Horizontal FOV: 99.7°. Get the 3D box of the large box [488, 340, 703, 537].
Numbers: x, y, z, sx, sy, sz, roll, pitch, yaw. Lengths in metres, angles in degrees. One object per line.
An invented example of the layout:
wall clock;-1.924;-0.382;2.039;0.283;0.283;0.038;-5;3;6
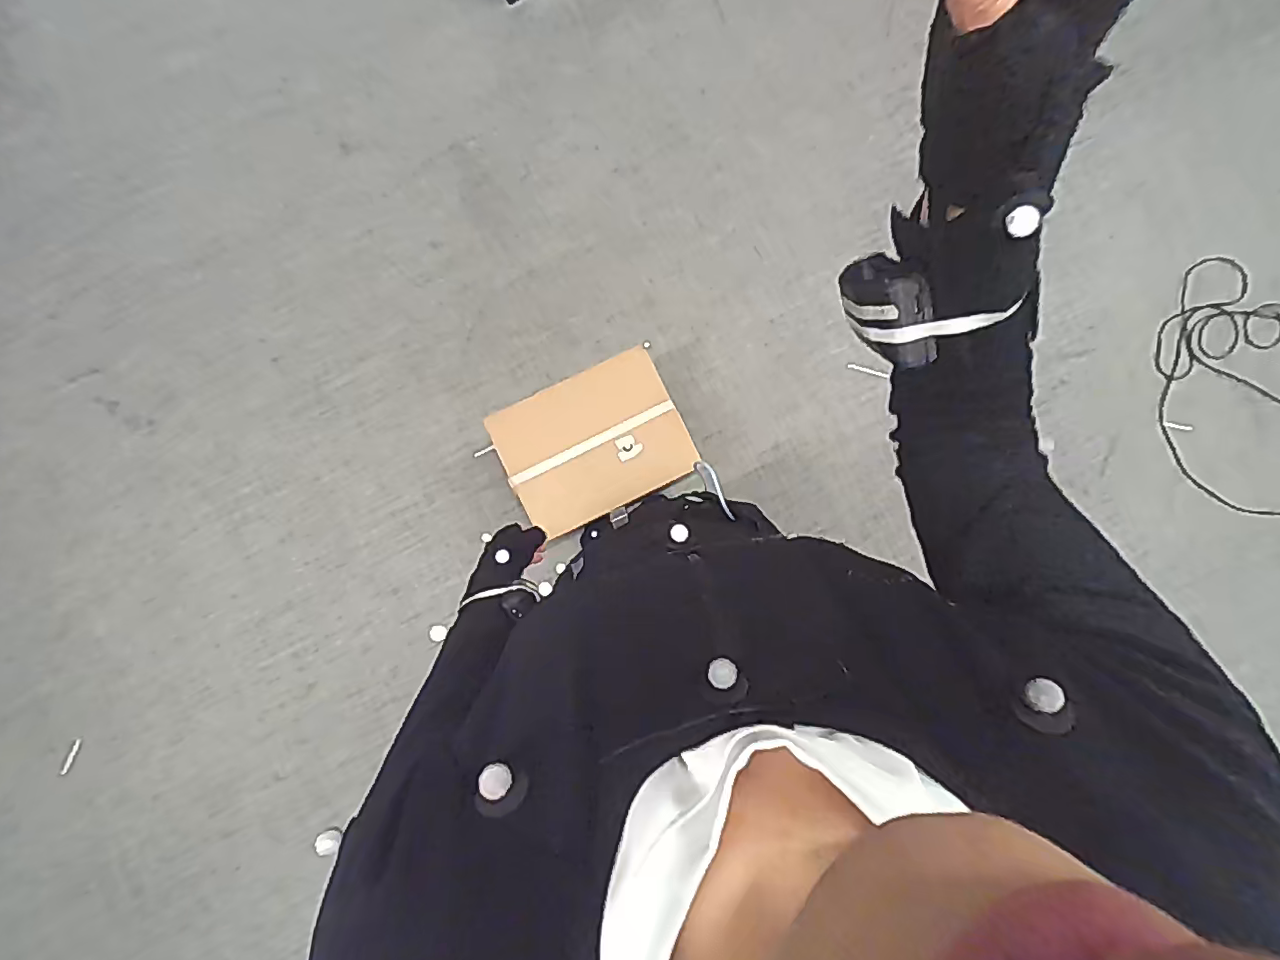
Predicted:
large box;-0.102;-0.084;1.354;0.408;0.320;0.320;-26;88;-2
